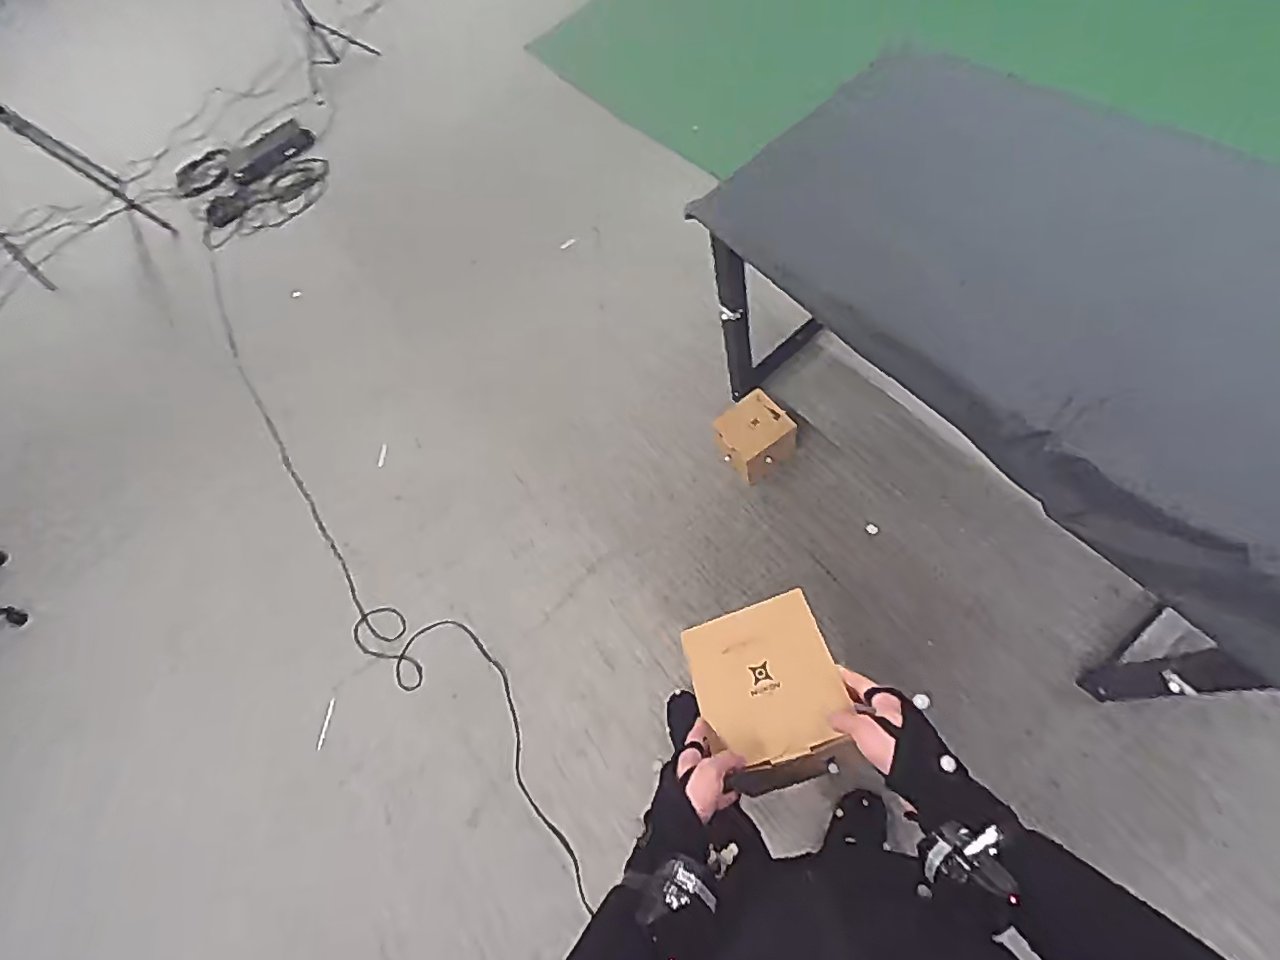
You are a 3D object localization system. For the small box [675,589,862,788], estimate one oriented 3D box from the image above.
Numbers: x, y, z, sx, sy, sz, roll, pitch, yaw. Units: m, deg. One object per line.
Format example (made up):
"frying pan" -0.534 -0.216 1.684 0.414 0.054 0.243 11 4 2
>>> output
"small box" 0.164 0.272 0.684 0.168 0.176 0.179 -23 47 9
